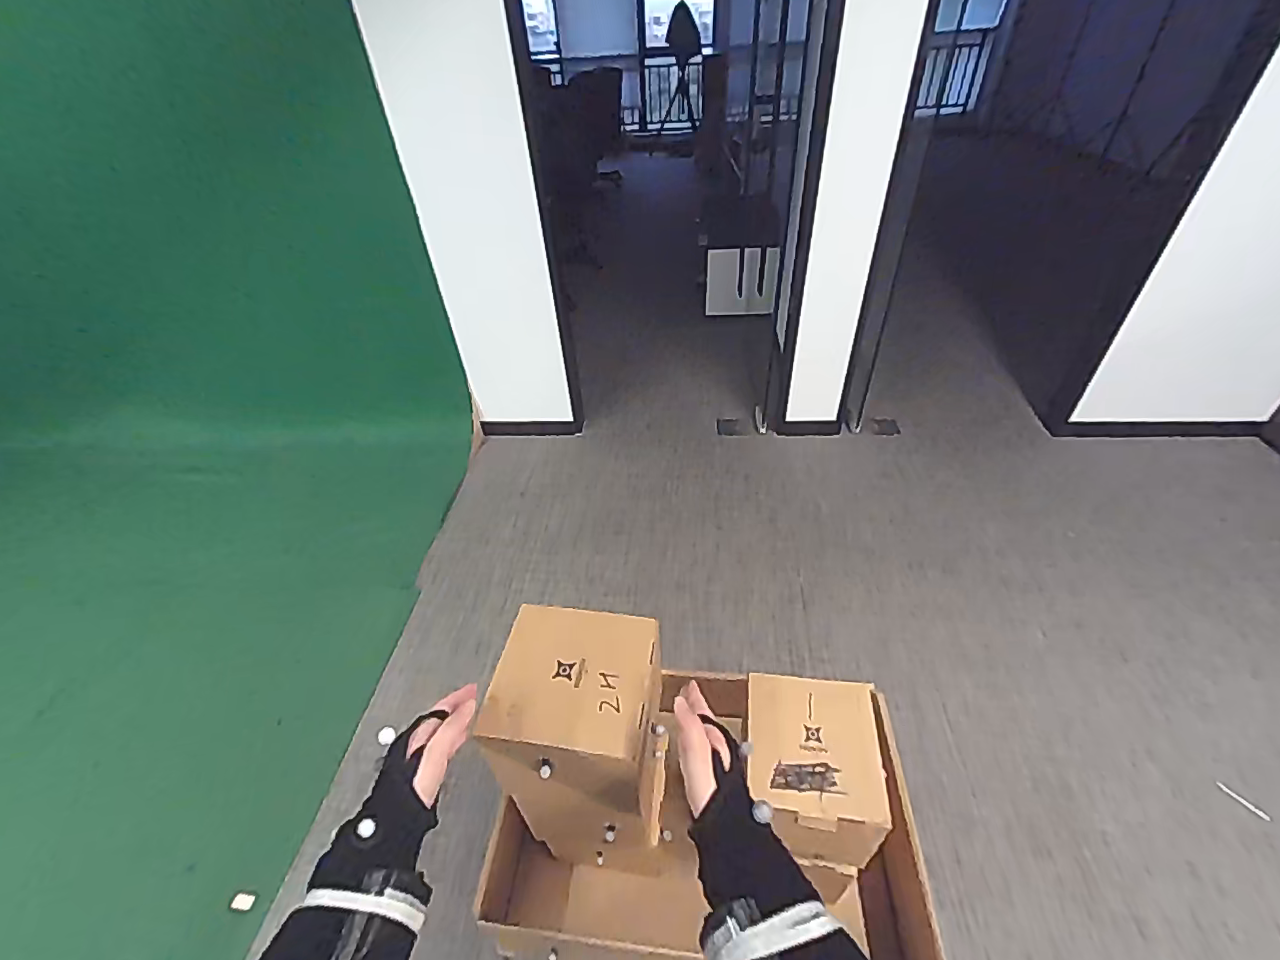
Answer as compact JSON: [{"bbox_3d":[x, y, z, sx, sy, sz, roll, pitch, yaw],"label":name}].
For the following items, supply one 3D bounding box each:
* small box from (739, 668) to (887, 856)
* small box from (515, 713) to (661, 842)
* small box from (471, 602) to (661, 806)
[{"bbox_3d":[0.225,0.388,0.746,0.168,0.176,0.179,3,41,10],"label":"small box"},{"bbox_3d":[-0.060,0.391,0.775,0.168,0.176,0.179,2,41,8],"label":"small box"},{"bbox_3d":[-0.074,0.273,0.661,0.179,0.176,0.168,5,43,10],"label":"small box"}]
